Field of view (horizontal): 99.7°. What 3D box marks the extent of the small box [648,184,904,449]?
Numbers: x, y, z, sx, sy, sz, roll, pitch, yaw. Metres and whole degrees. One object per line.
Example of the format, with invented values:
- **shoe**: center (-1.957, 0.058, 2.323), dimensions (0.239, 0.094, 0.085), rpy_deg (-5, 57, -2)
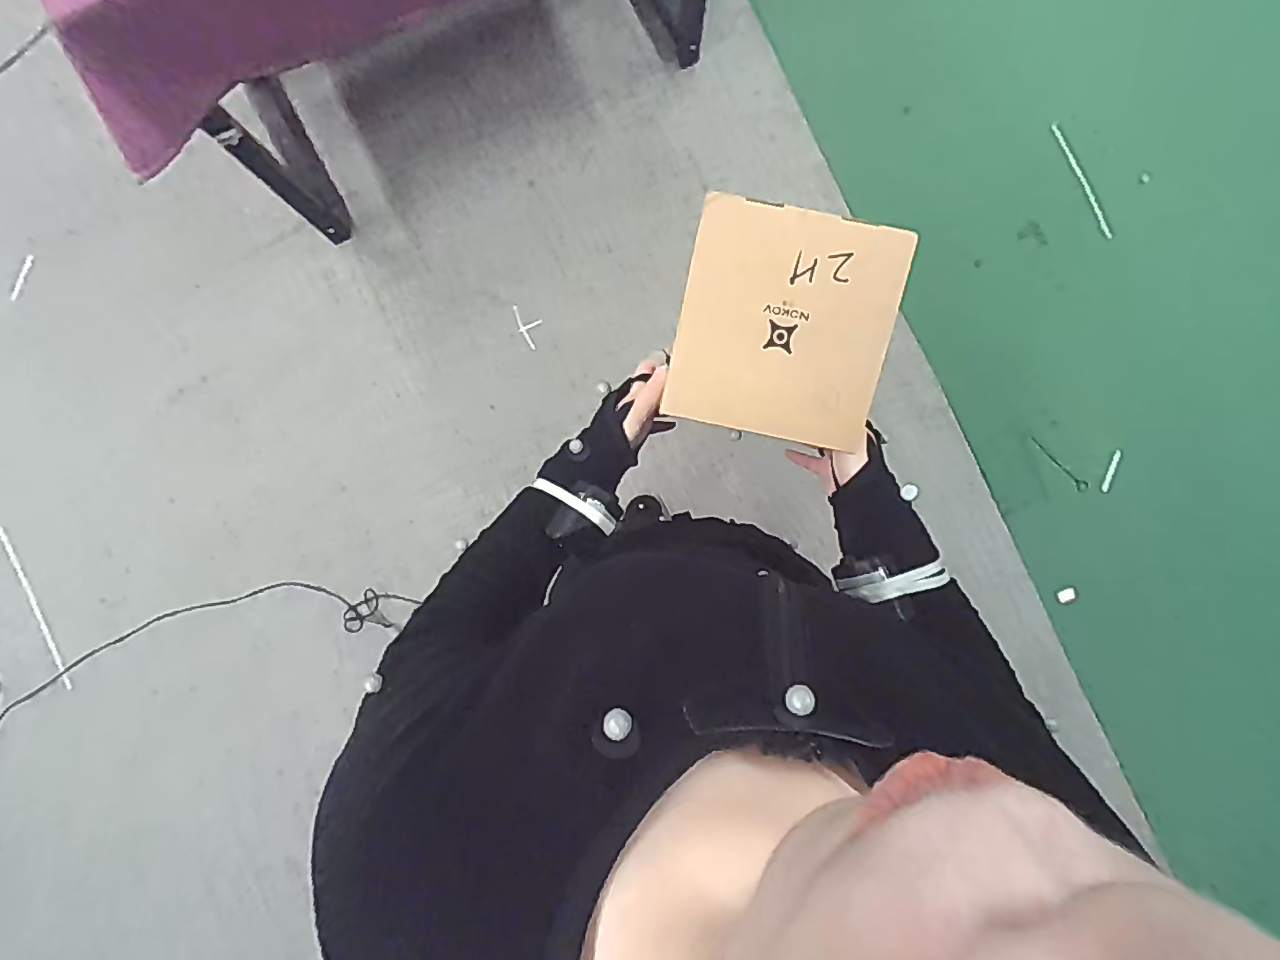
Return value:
- **small box**: center (0.108, -0.139, 0.502), dimensions (0.168, 0.176, 0.179), rpy_deg (12, 100, 1)
